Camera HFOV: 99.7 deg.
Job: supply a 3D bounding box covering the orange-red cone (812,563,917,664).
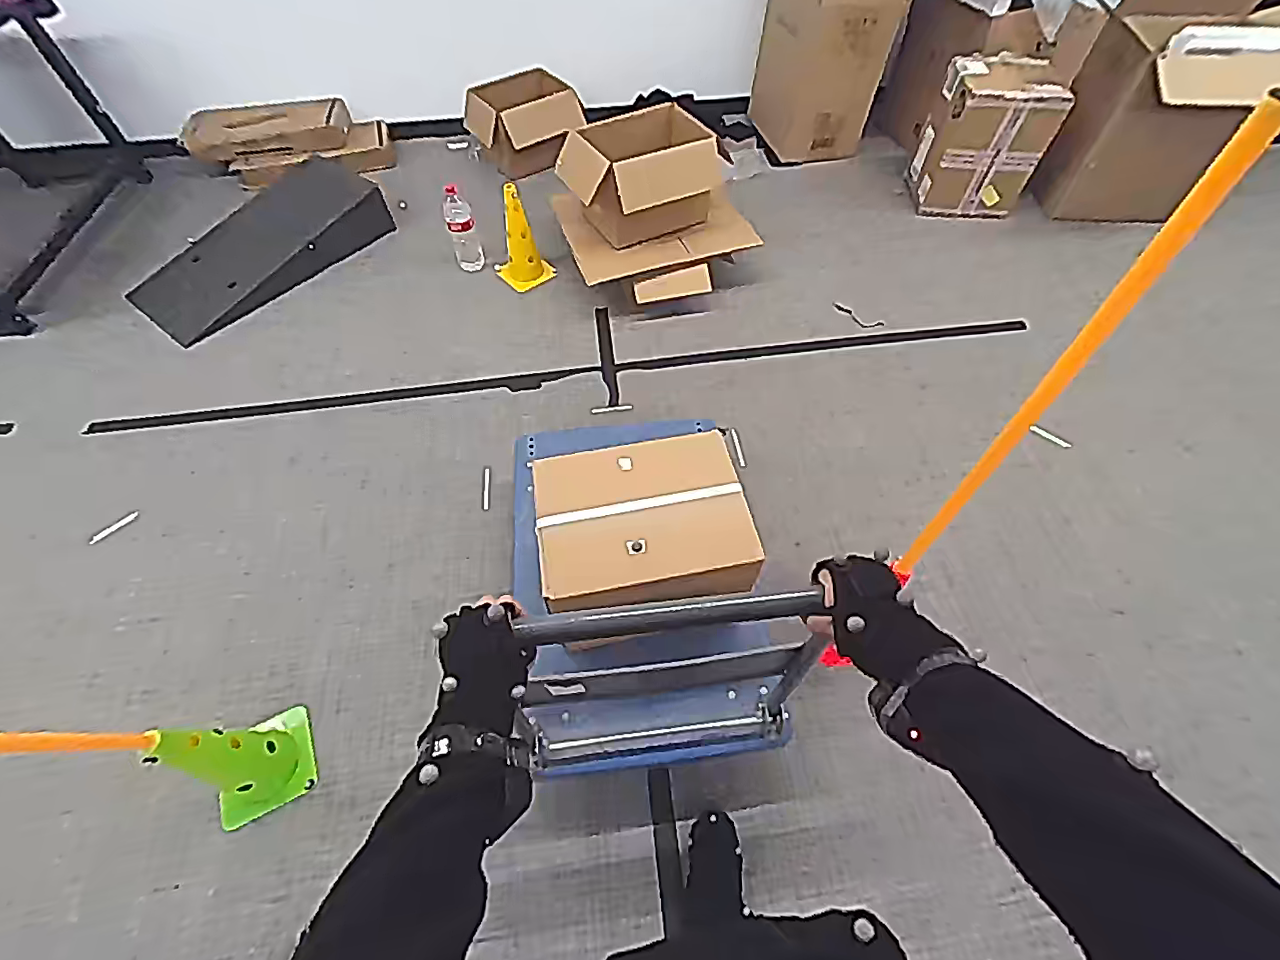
[{"bbox_3d":[0.555,0.283,1.259,0.199,0.360,0.198,-1,57,-1],"label":"orange-red cone"}]
